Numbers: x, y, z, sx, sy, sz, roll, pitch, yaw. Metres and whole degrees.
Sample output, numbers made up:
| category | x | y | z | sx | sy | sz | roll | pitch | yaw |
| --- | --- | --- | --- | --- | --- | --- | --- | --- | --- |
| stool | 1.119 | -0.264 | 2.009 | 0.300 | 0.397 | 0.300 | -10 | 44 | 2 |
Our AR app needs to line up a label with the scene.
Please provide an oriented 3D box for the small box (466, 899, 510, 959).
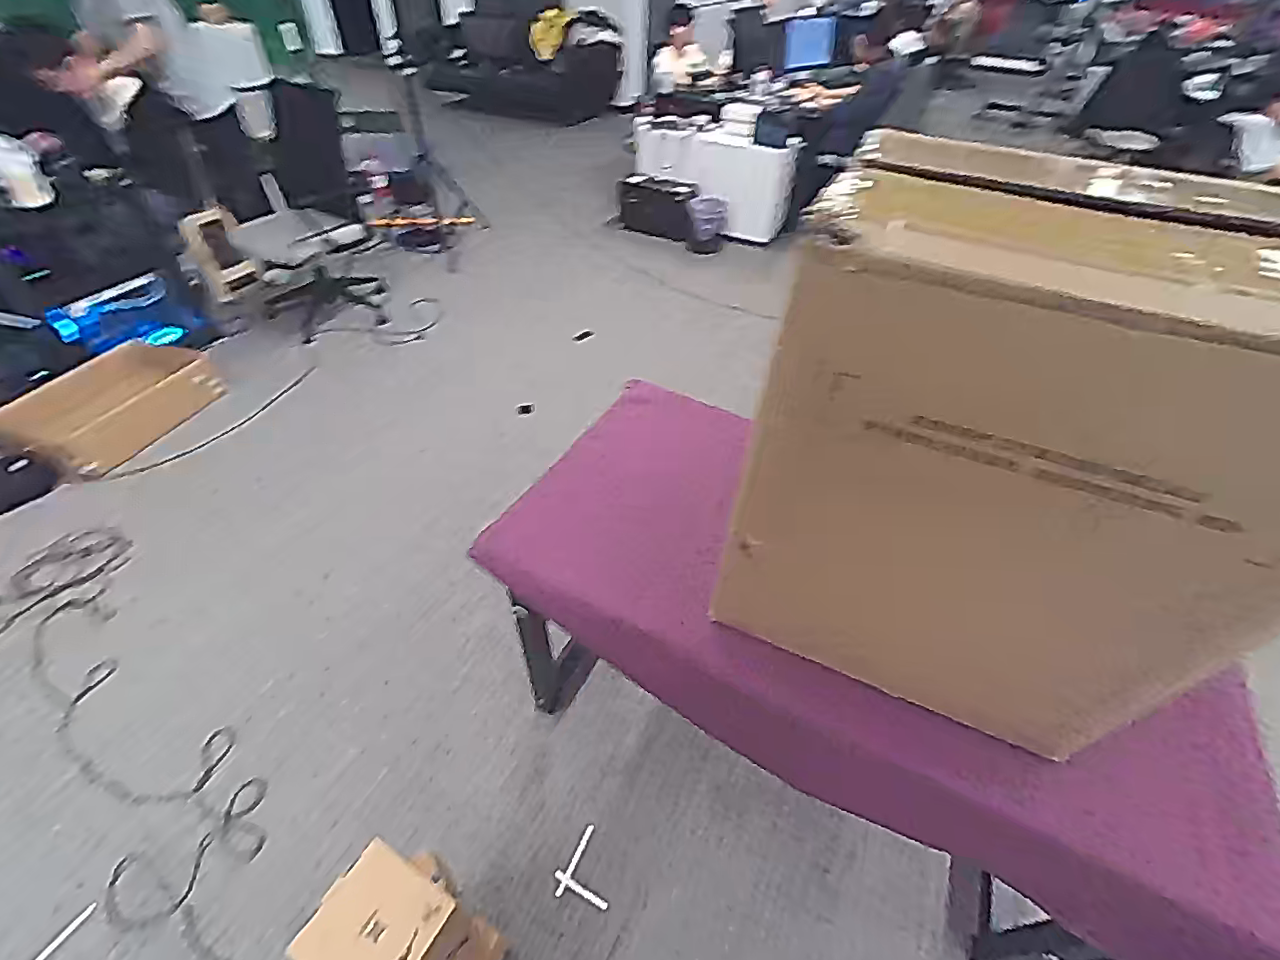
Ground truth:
| category | x | y | z | sx | sy | sz | roll | pitch | yaw |
| --- | --- | --- | --- | --- | --- | --- | --- | --- | --- |
| small box | -0.383 | 0.936 | 1.069 | 0.179 | 0.176 | 0.168 | 24 | 49 | 19 |

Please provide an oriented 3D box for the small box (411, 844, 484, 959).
| category | x | y | z | sx | sy | sz | roll | pitch | yaw |
| --- | --- | --- | --- | --- | --- | --- | --- | --- | --- |
| small box | -0.400 | 0.806 | 0.968 | 0.168 | 0.176 | 0.179 | -29 | 52 | -29 |

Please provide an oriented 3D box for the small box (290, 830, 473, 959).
| category | x | y | z | sx | sy | sz | roll | pitch | yaw |
| --- | --- | --- | --- | --- | --- | --- | --- | --- | --- |
| small box | -0.390 | 0.699 | 0.845 | 0.179 | 0.176 | 0.168 | 24 | 48 | 19 |
